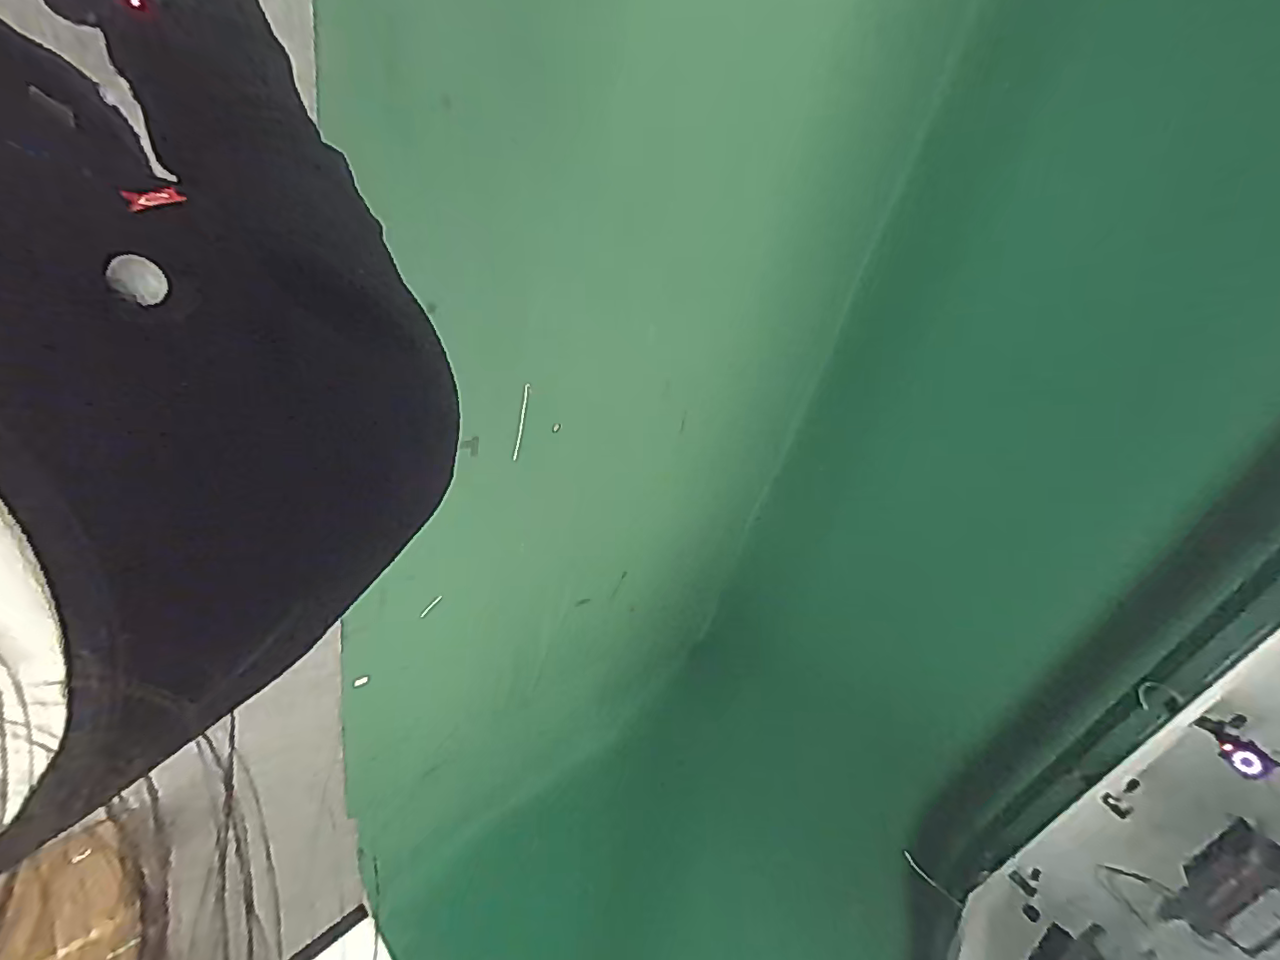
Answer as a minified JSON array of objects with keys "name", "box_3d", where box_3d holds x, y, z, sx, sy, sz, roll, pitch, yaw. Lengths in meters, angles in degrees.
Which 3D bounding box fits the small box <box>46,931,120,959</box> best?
[{"name":"small box","box_3d":[-1.447,1.310,1.376,0.168,0.176,0.179,-22,136,-43]}]
